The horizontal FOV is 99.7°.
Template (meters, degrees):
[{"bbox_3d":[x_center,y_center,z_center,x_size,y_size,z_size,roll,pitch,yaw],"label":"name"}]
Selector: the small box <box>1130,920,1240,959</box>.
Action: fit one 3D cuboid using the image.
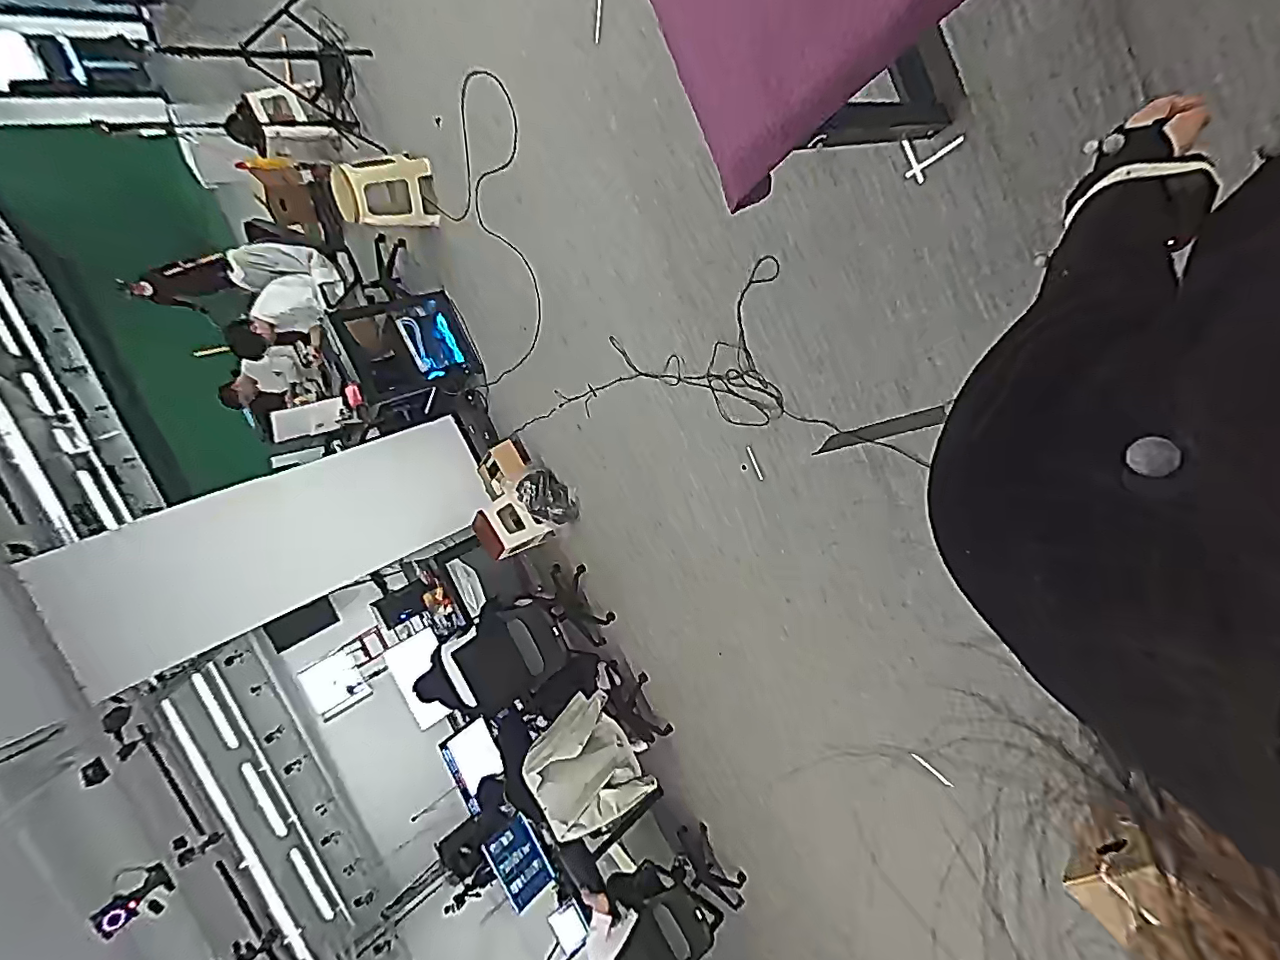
[{"bbox_3d":[1.210,1.105,1.176,0.168,0.176,0.179,43,142,27],"label":"small box"}]
